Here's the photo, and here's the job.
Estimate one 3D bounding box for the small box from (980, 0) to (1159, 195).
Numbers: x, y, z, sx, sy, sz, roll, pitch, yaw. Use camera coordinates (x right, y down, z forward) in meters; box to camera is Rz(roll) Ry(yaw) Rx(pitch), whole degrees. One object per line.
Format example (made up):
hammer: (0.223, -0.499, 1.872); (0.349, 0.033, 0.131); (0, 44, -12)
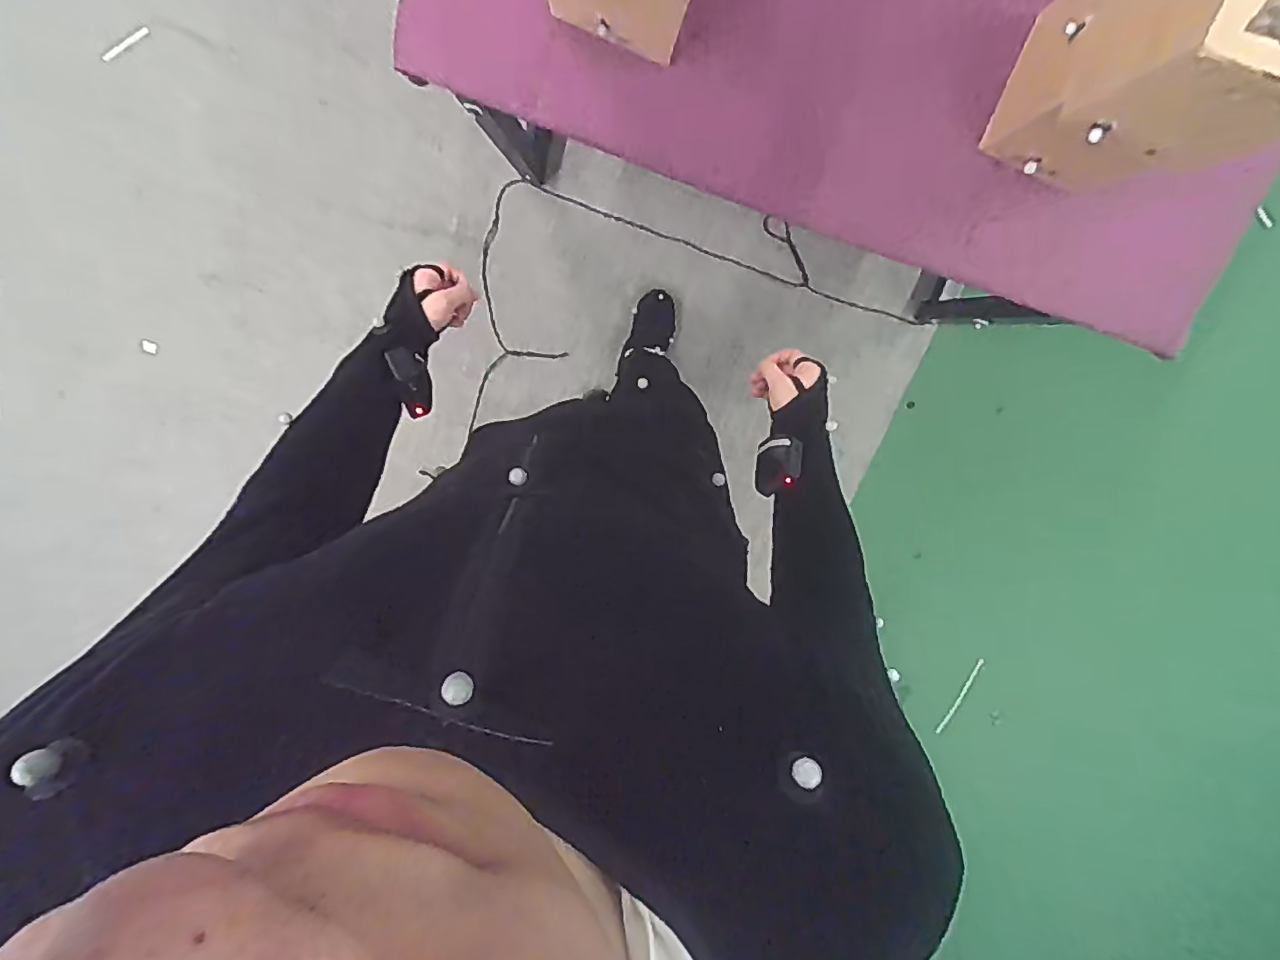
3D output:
small box: (0.566, -0.485, 0.662); (0.168, 0.176, 0.179); (20, 105, -4)
